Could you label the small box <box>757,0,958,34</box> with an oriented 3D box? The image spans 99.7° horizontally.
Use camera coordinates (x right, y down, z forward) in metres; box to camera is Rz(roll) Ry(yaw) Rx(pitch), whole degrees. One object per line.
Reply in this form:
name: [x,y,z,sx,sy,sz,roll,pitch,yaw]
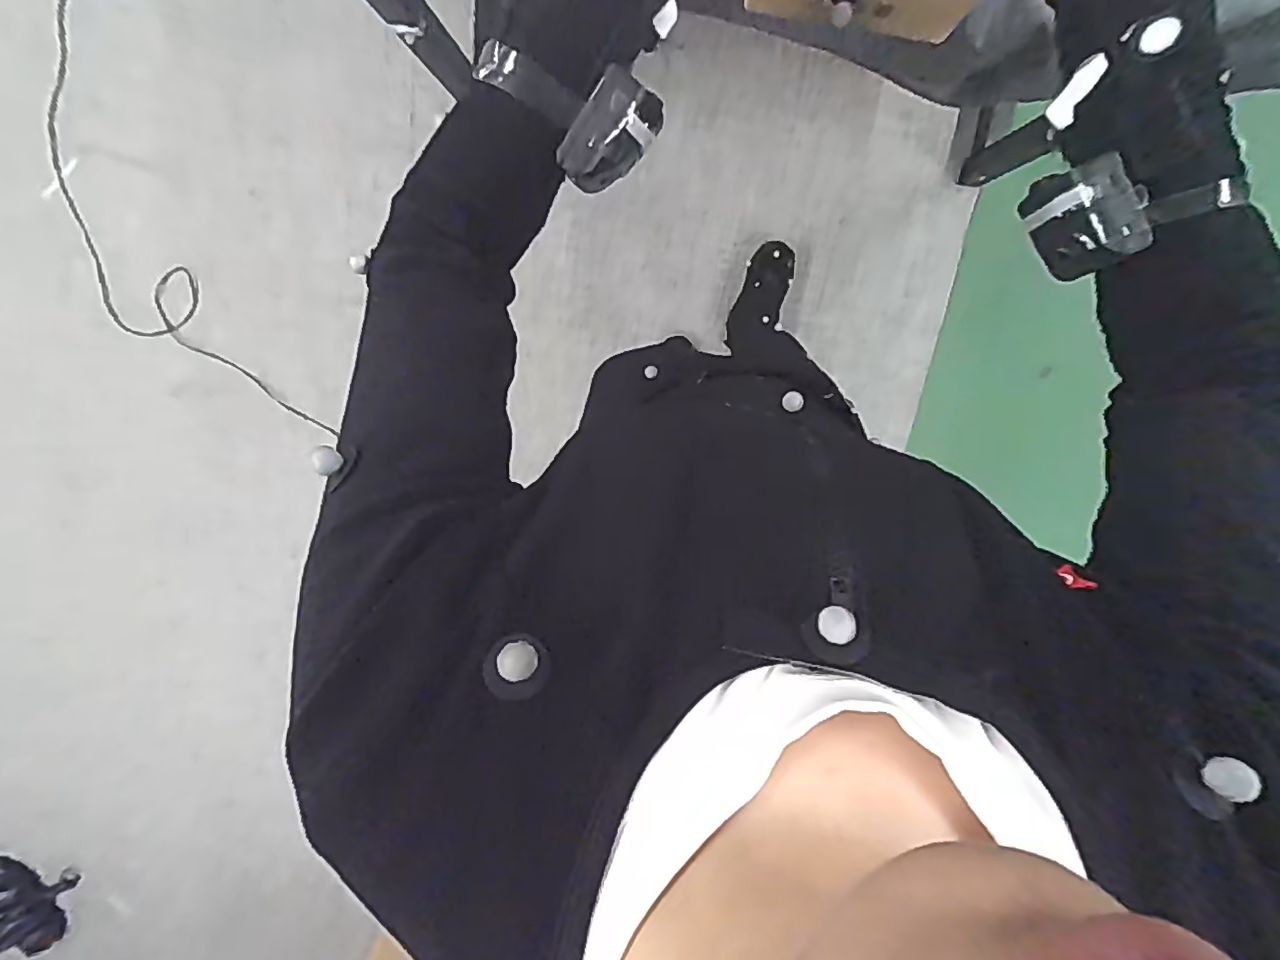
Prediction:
small box: [0.172,-0.444,0.344,0.168,0.176,0.179,8,101,-1]
